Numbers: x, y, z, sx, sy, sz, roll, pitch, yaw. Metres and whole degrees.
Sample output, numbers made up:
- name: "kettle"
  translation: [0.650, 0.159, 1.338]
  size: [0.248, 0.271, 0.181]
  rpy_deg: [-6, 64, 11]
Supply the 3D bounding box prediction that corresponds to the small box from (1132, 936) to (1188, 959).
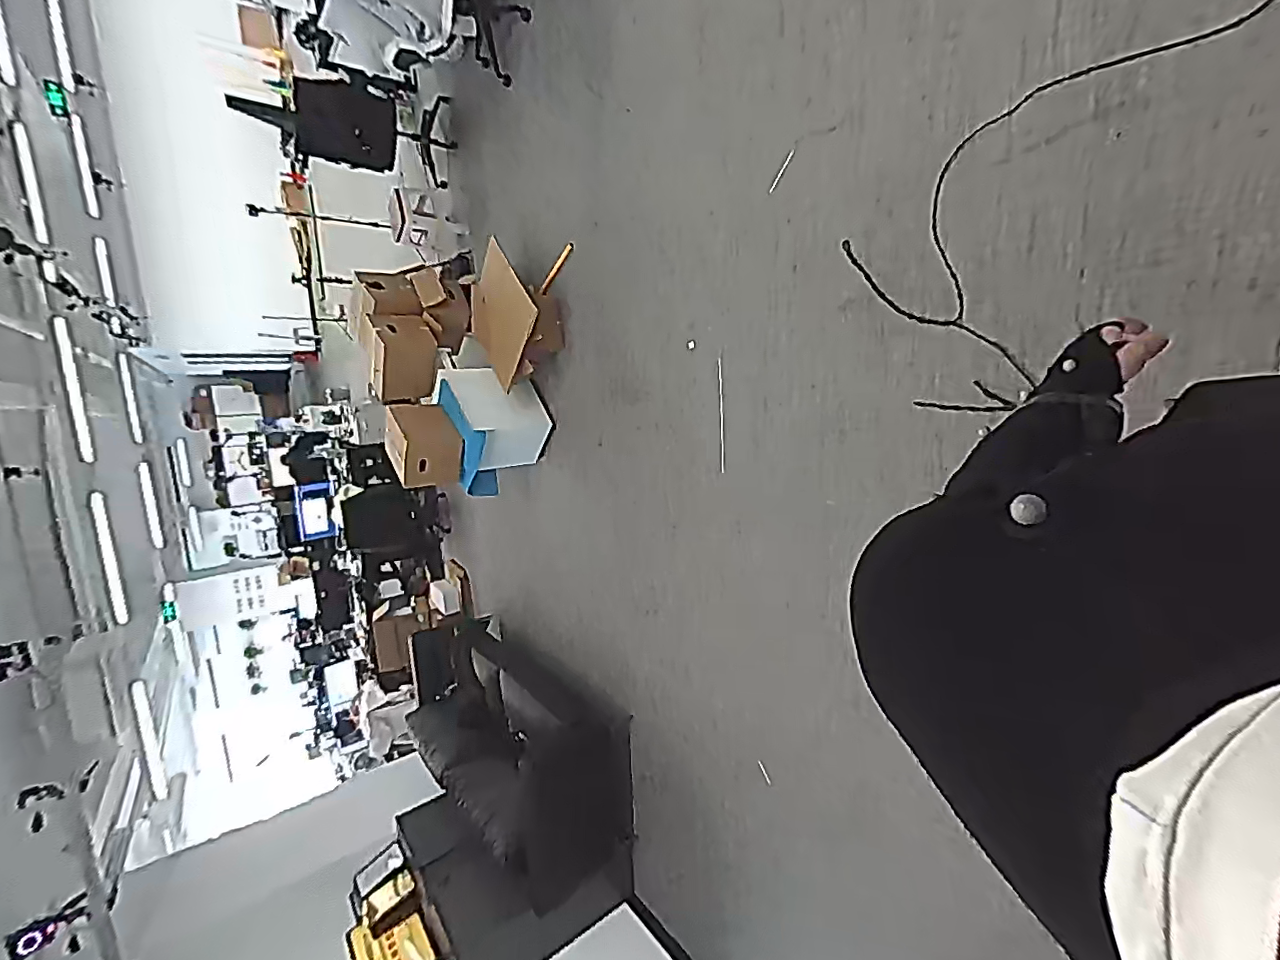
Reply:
- name: "small box"
  translation: [1.086, 1.095, 1.086]
  size: [0.168, 0.176, 0.179]
  rpy_deg: [11, 107, 49]
